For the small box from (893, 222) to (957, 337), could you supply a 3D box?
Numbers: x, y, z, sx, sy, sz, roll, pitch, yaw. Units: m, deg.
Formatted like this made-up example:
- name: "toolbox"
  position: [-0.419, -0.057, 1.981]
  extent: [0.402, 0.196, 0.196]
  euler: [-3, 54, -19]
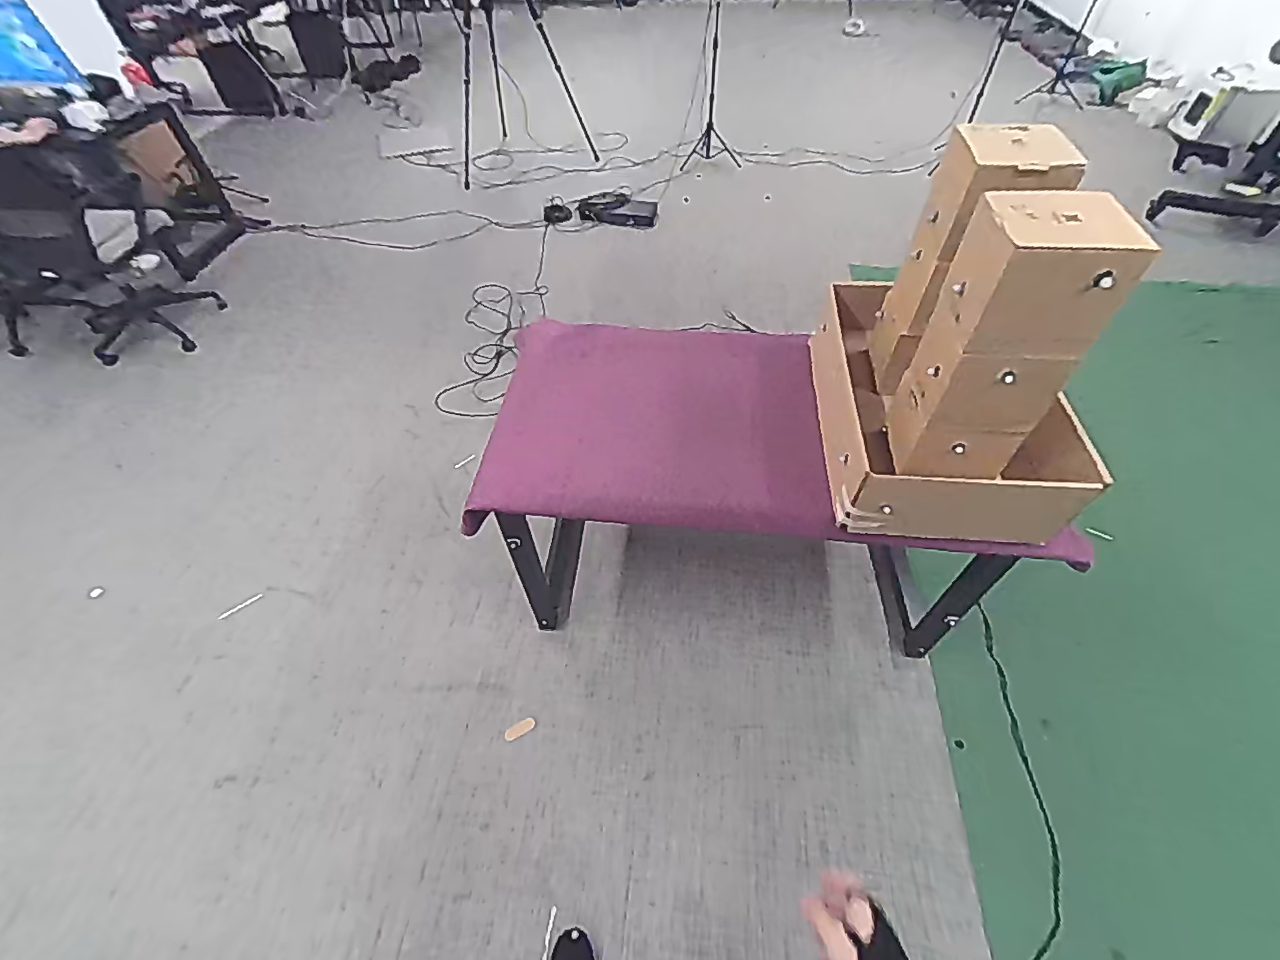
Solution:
- name: "small box"
  position: [0.632, -0.399, 1.096]
  extent: [0.168, 0.176, 0.179]
  euler: [5, 52, 6]

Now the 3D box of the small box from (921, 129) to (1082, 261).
- name: "small box"
  position: [0.629, -0.502, 0.968]
  extent: [0.168, 0.176, 0.179]
  euler: [5, 53, 6]

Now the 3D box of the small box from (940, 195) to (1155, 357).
- name: "small box"
  position: [0.583, -0.300, 0.804]
  extent: [0.179, 0.176, 0.168]
  euler: [4, 51, 7]

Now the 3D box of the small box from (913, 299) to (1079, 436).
- name: "small box"
  position: [0.589, -0.193, 0.930]
  extent: [0.179, 0.176, 0.168]
  euler: [5, 51, 7]
